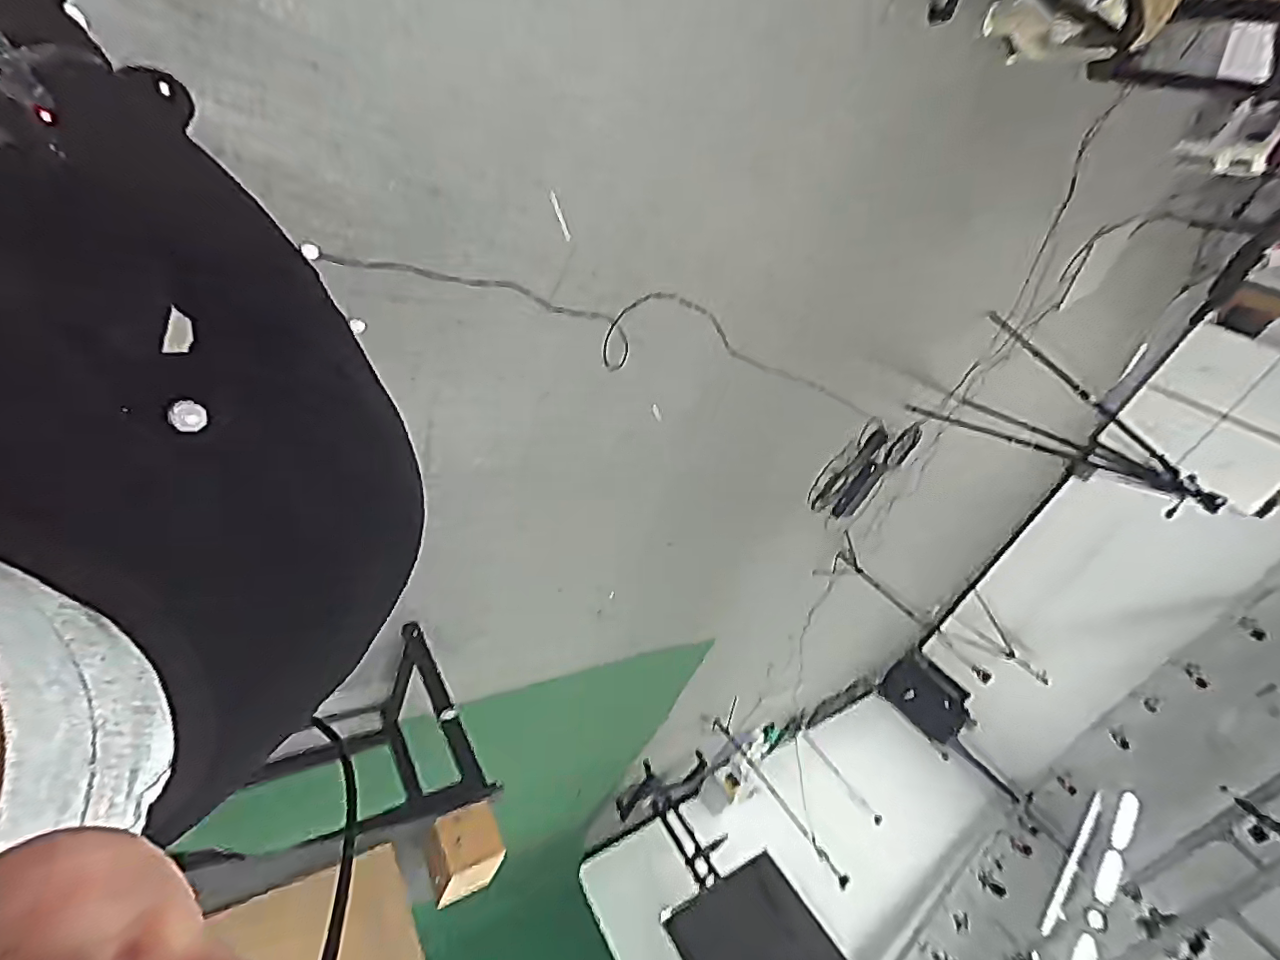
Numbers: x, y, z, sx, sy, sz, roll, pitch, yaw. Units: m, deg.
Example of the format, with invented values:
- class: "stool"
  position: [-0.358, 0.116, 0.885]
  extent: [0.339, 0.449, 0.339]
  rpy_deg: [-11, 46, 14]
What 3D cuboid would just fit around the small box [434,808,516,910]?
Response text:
- class: "small box"
  position: [-0.499, 1.117, 1.613]
  extent: [0.168, 0.176, 0.179]
  rpy_deg: [1, 125, -41]
